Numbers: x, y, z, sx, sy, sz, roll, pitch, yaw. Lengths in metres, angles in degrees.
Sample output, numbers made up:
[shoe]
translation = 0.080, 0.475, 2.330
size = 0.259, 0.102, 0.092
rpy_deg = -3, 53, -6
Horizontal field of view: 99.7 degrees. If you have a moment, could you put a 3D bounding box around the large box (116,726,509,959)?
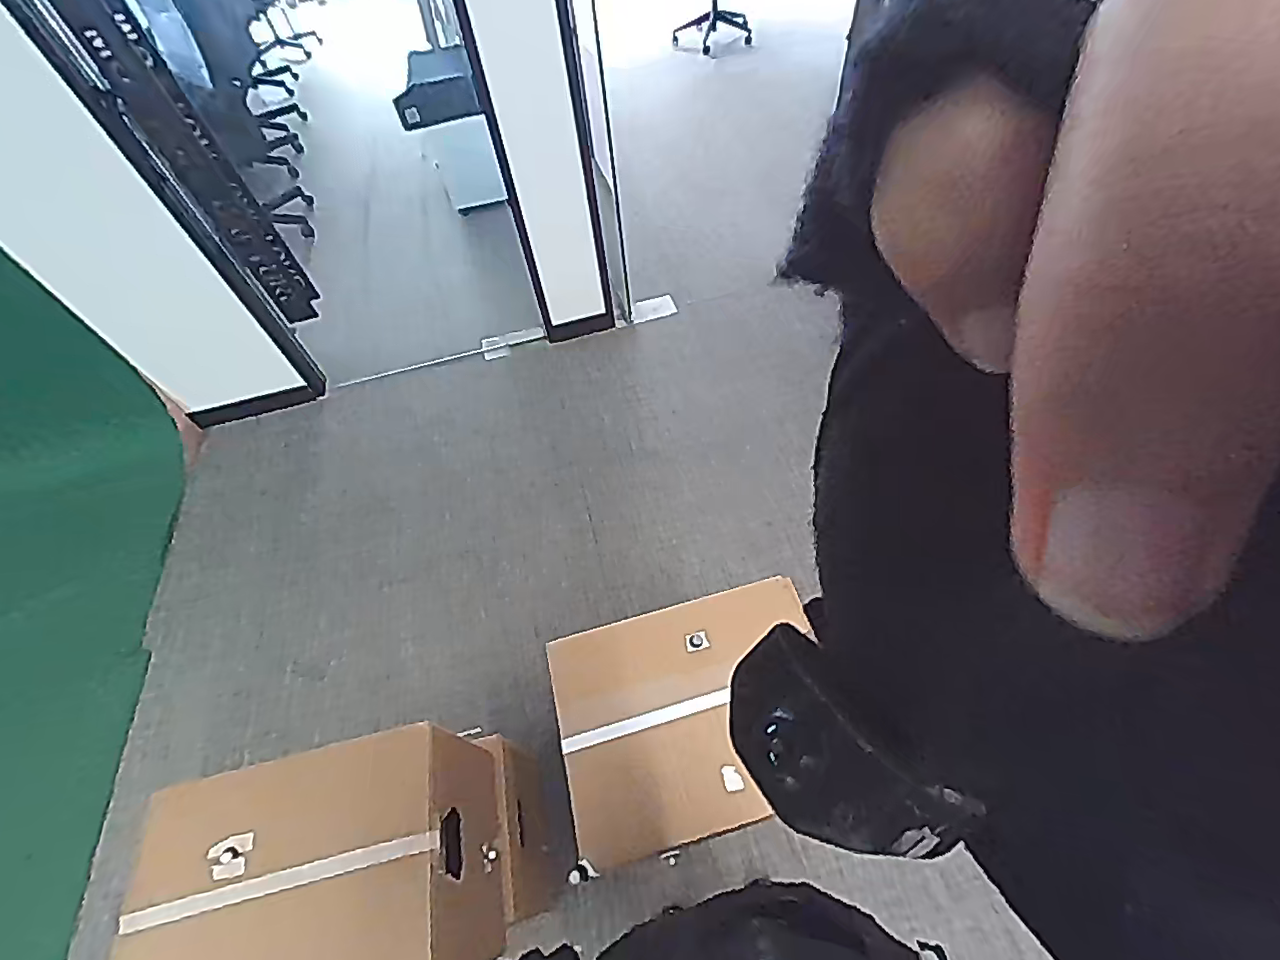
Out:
[large box]
translation = -0.449, 0.608, 0.823
size = 0.408, 0.320, 0.320
rpy_deg = -13, 56, -2
